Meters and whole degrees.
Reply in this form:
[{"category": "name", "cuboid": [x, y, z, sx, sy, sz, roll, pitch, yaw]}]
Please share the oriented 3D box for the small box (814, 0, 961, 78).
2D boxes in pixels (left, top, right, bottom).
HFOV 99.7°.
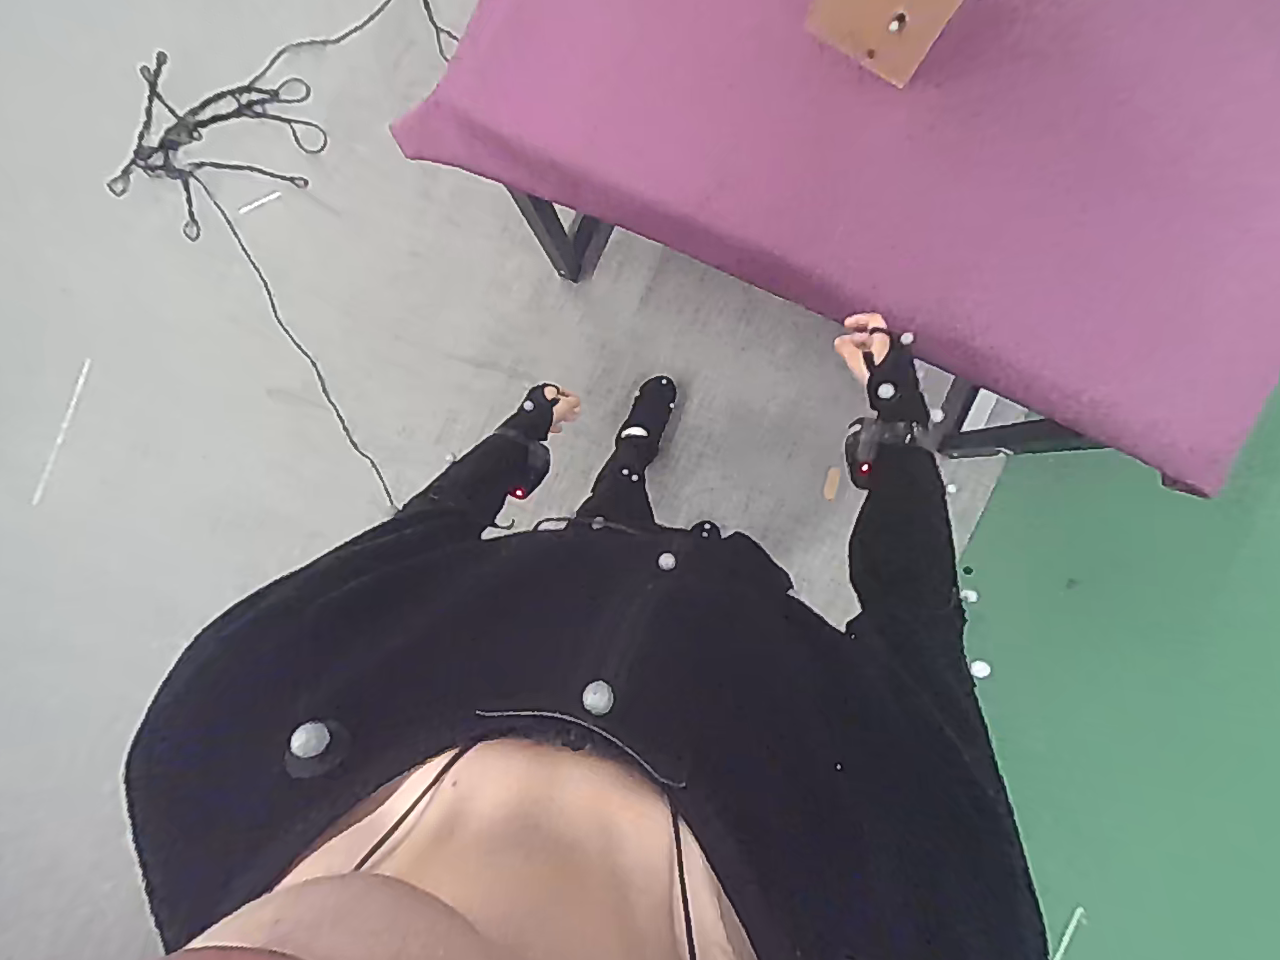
[{"category": "small box", "cuboid": [0.335, -0.653, 0.658, 0.168, 0.176, 0.179, 35, 92, 2]}]
